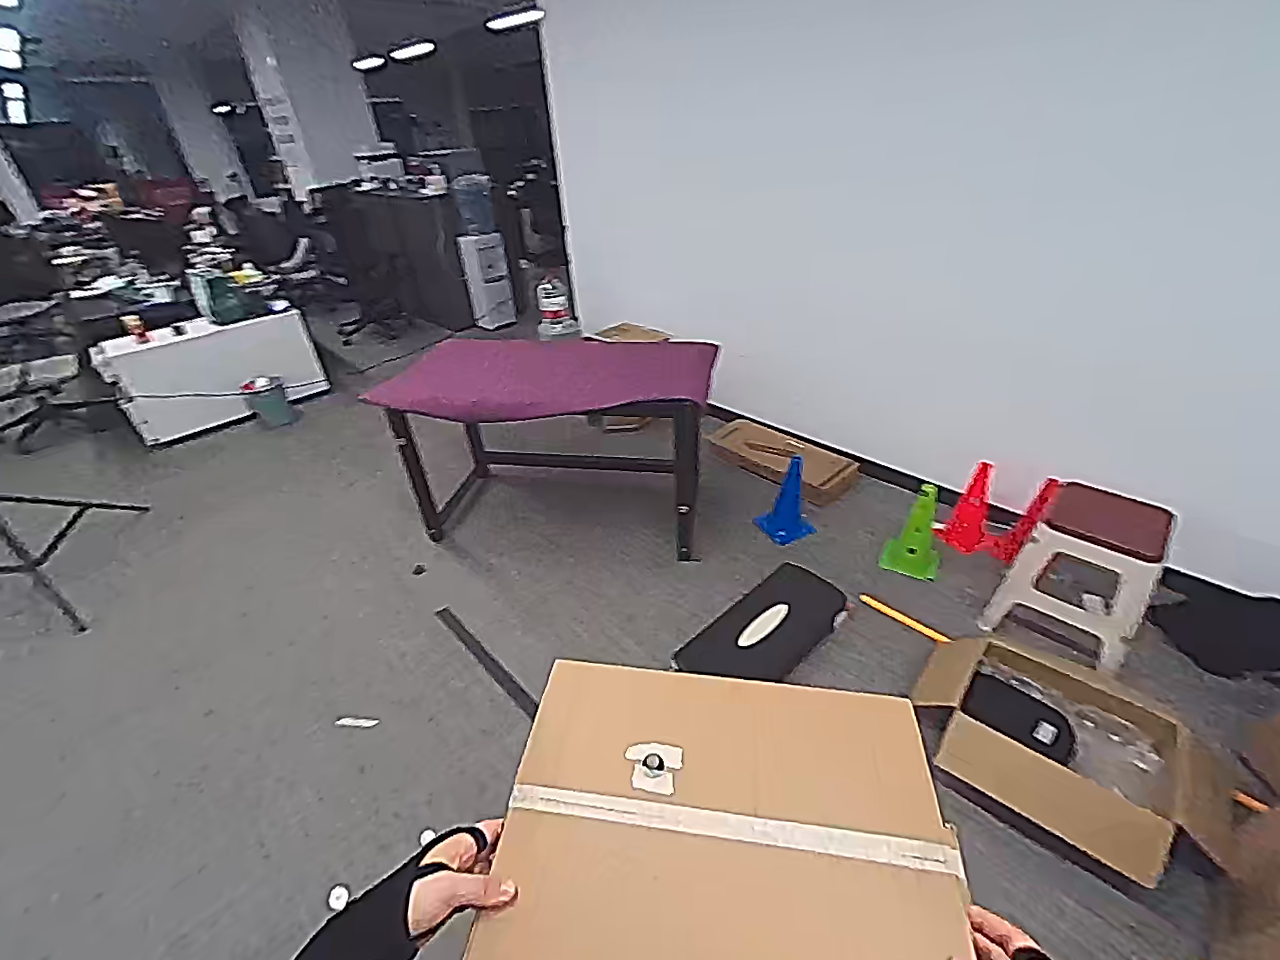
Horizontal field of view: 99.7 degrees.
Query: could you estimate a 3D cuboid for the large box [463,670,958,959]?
[{"bbox_3d":[0.078,0.444,0.603,0.408,0.320,0.320,1,38,9],"label":"large box"}]
